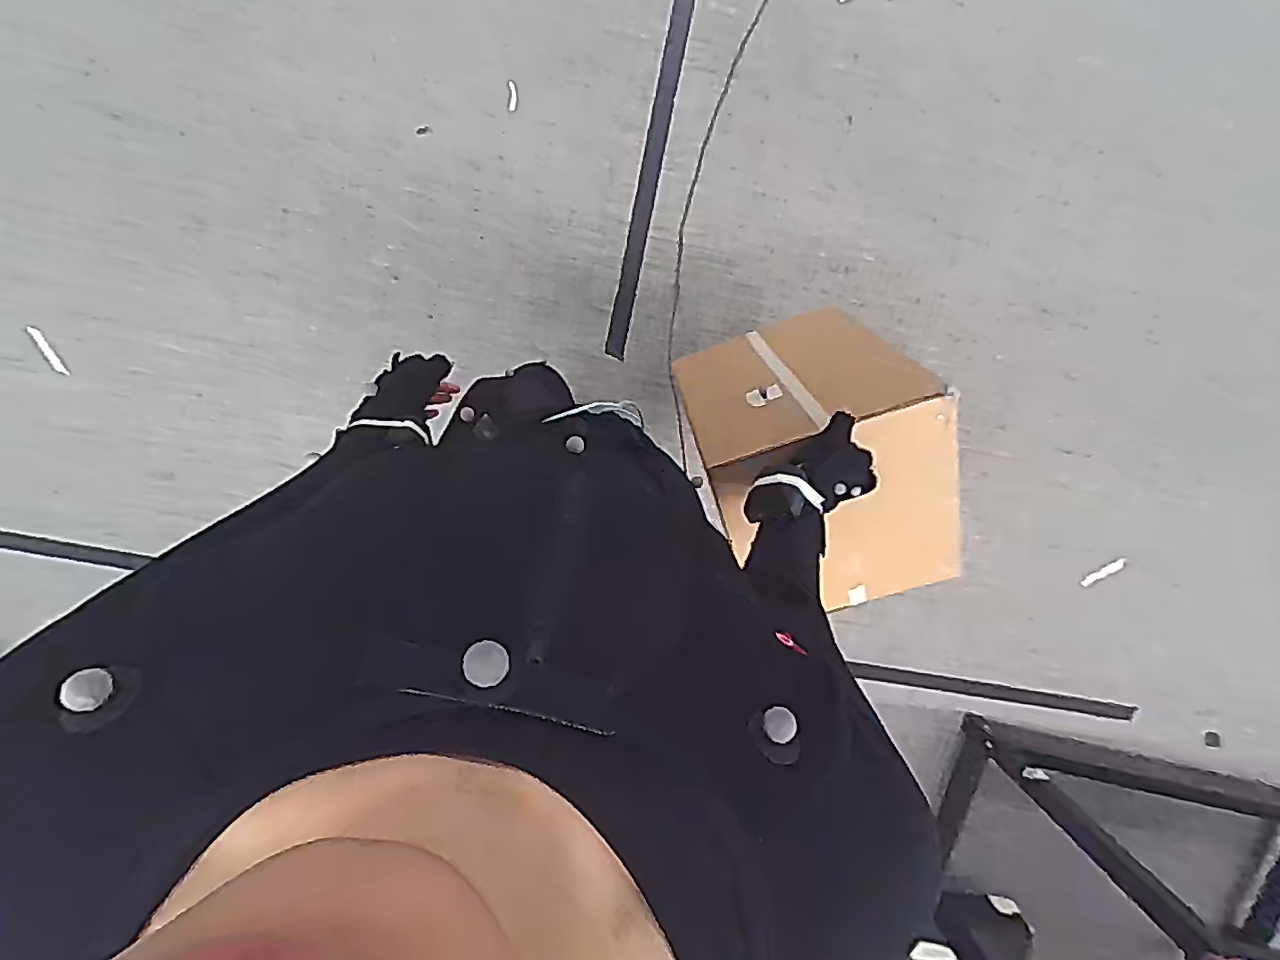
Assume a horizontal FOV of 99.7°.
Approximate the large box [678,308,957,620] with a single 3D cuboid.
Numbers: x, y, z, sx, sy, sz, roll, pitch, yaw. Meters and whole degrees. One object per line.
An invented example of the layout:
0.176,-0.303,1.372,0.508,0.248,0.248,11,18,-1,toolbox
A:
0.275,-0.044,0.912,0.320,0.408,0.320,-19,122,9,large box
